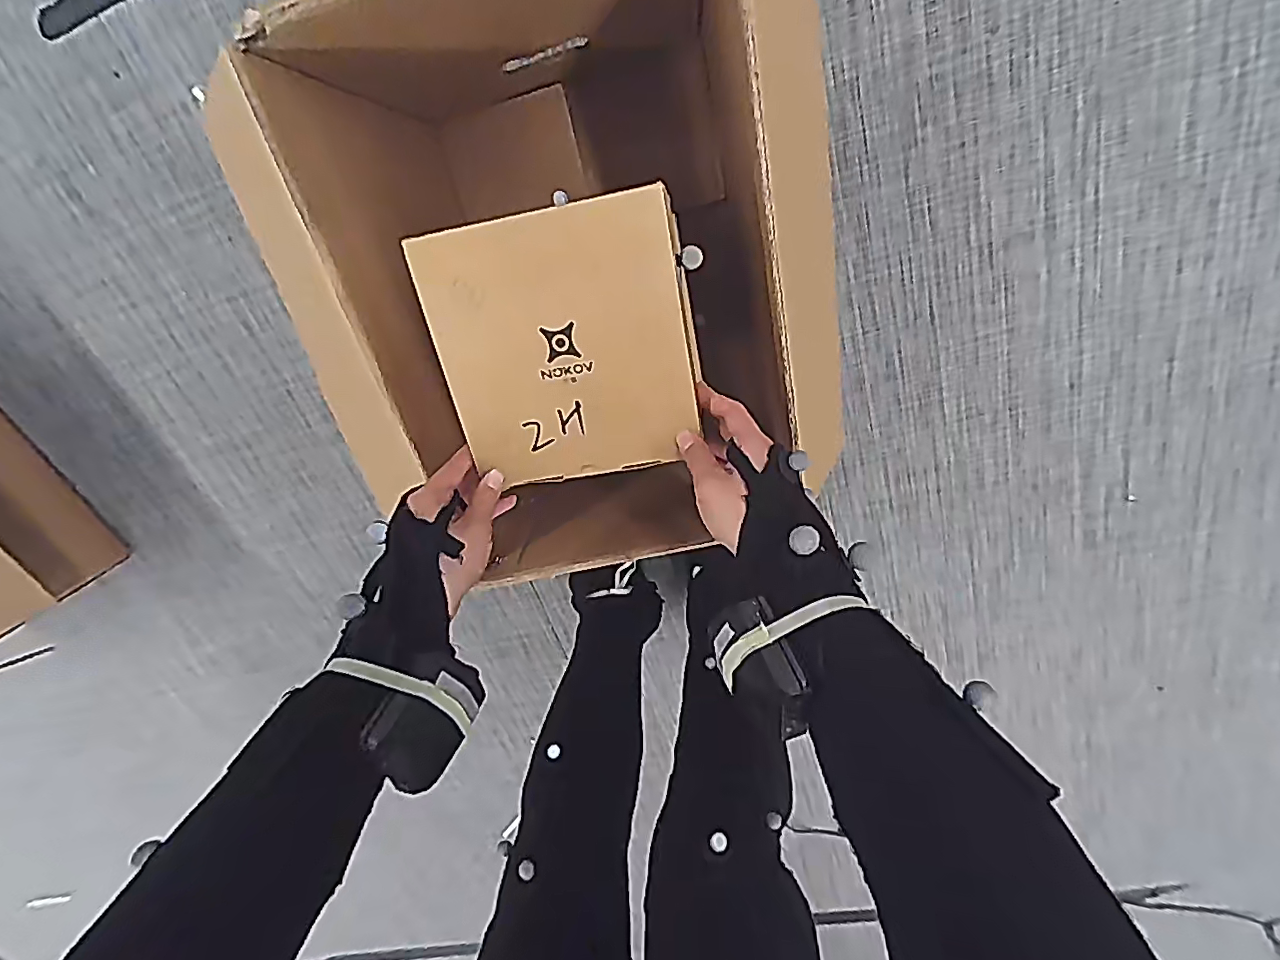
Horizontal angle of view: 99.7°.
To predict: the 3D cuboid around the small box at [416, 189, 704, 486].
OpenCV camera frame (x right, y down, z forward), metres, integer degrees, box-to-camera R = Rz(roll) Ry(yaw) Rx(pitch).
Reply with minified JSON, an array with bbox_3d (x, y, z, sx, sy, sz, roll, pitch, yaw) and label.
[{"bbox_3d":[-0.045,-0.116,0.437,0.168,0.176,0.179,-9,113,7],"label":"small box"}]
